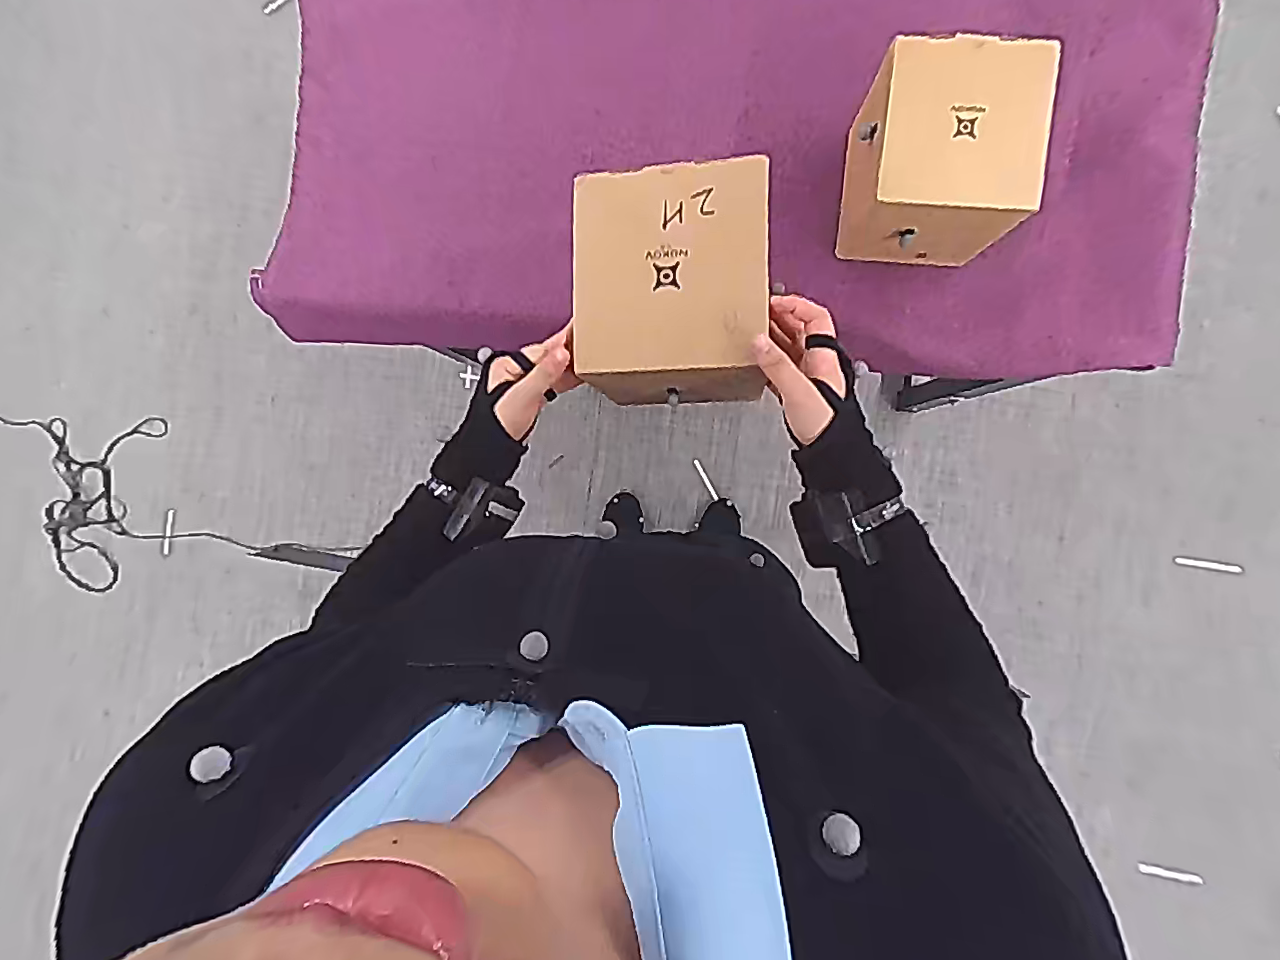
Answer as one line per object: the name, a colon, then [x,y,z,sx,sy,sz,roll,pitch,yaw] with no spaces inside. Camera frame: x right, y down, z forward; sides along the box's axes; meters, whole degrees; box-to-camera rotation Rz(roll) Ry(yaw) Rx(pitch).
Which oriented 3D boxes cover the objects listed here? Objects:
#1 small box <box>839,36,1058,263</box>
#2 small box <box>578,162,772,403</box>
small box: [0.348,-0.377,0.646,0.168,0.176,0.179,6,91,5]
small box: [0.042,-0.173,0.533,0.168,0.176,0.179,0,87,9]
